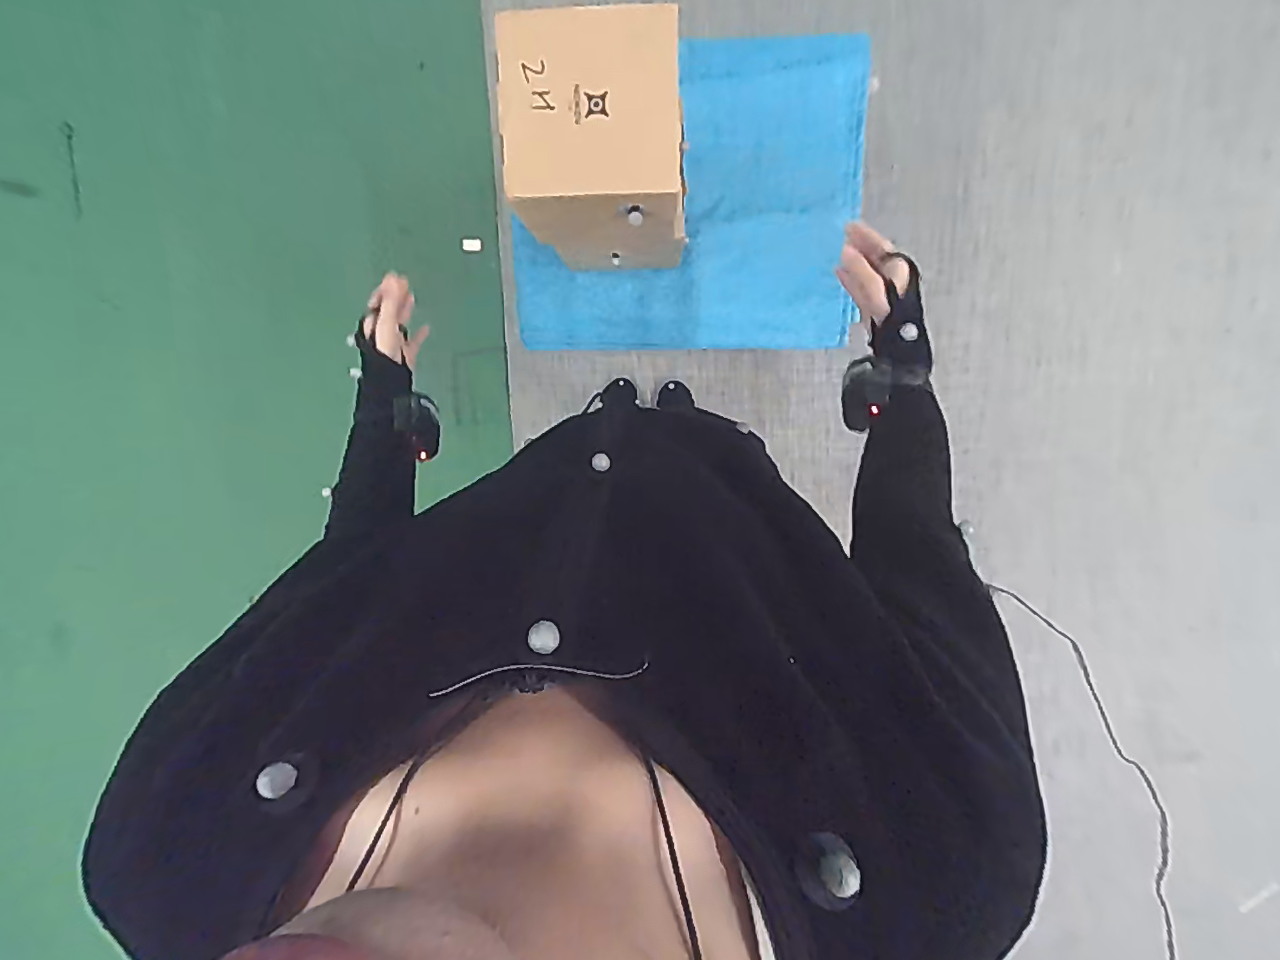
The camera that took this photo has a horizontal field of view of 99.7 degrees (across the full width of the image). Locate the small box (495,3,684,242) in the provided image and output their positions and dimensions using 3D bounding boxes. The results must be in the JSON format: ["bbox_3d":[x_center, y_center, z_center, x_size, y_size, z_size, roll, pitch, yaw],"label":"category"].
[{"bbox_3d":[-0.045,-0.368,0.588,0.179,0.176,0.168,-1,99,2],"label":"small box"}]

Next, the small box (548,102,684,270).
[{"bbox_3d":[-0.030,-0.396,0.749,0.179,0.176,0.168,-1,99,3],"label":"small box"}]
